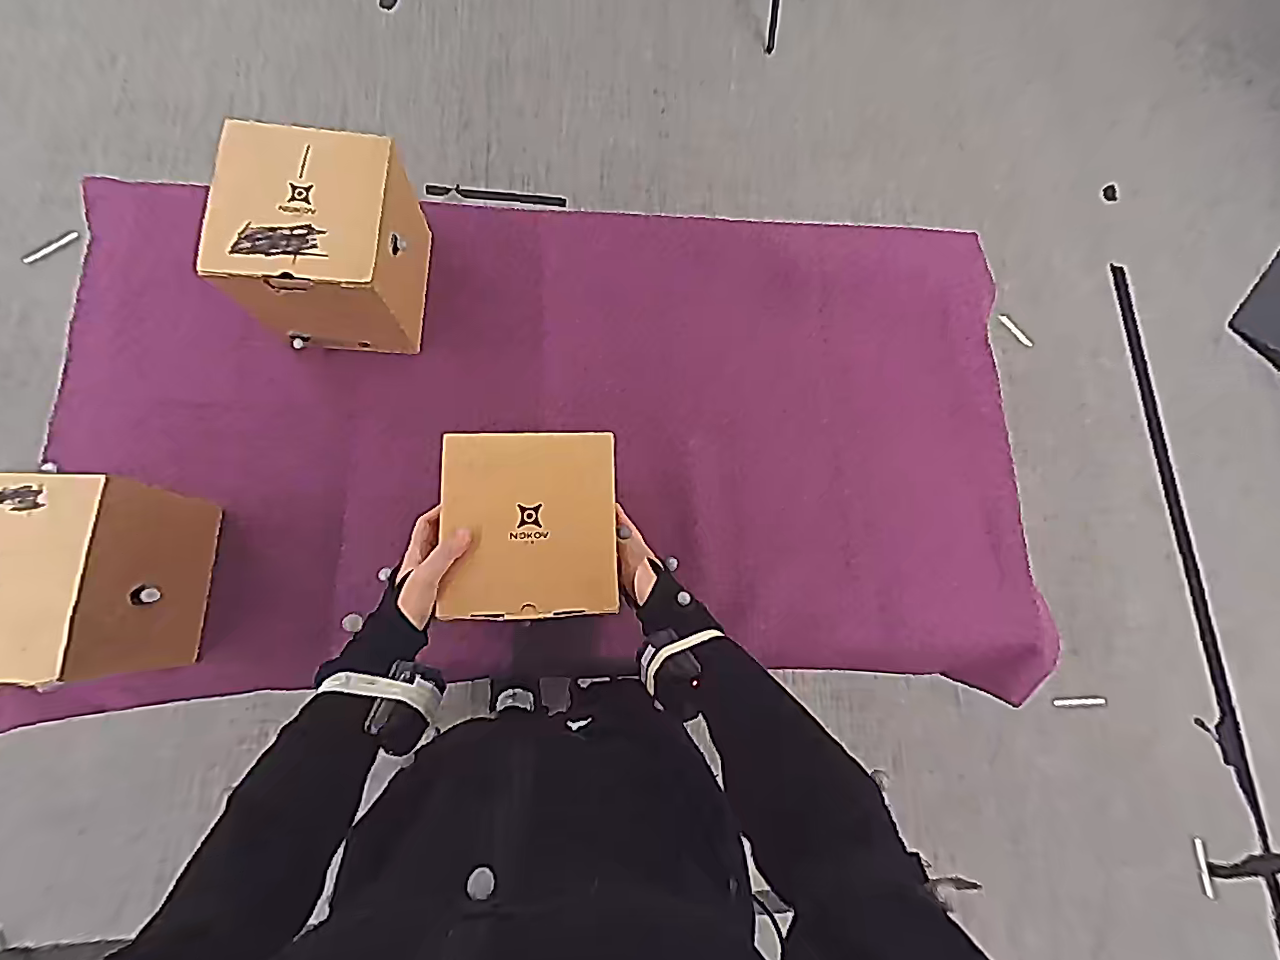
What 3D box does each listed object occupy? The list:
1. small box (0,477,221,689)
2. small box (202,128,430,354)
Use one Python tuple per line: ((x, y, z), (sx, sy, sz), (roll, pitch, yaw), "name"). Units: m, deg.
((-0.554, 0.099, 0.527), (0.168, 0.176, 0.179), (1, 78, -7), "small box")
((-0.355, -0.262, 0.630), (0.168, 0.176, 0.179), (2, 78, -7), "small box")
